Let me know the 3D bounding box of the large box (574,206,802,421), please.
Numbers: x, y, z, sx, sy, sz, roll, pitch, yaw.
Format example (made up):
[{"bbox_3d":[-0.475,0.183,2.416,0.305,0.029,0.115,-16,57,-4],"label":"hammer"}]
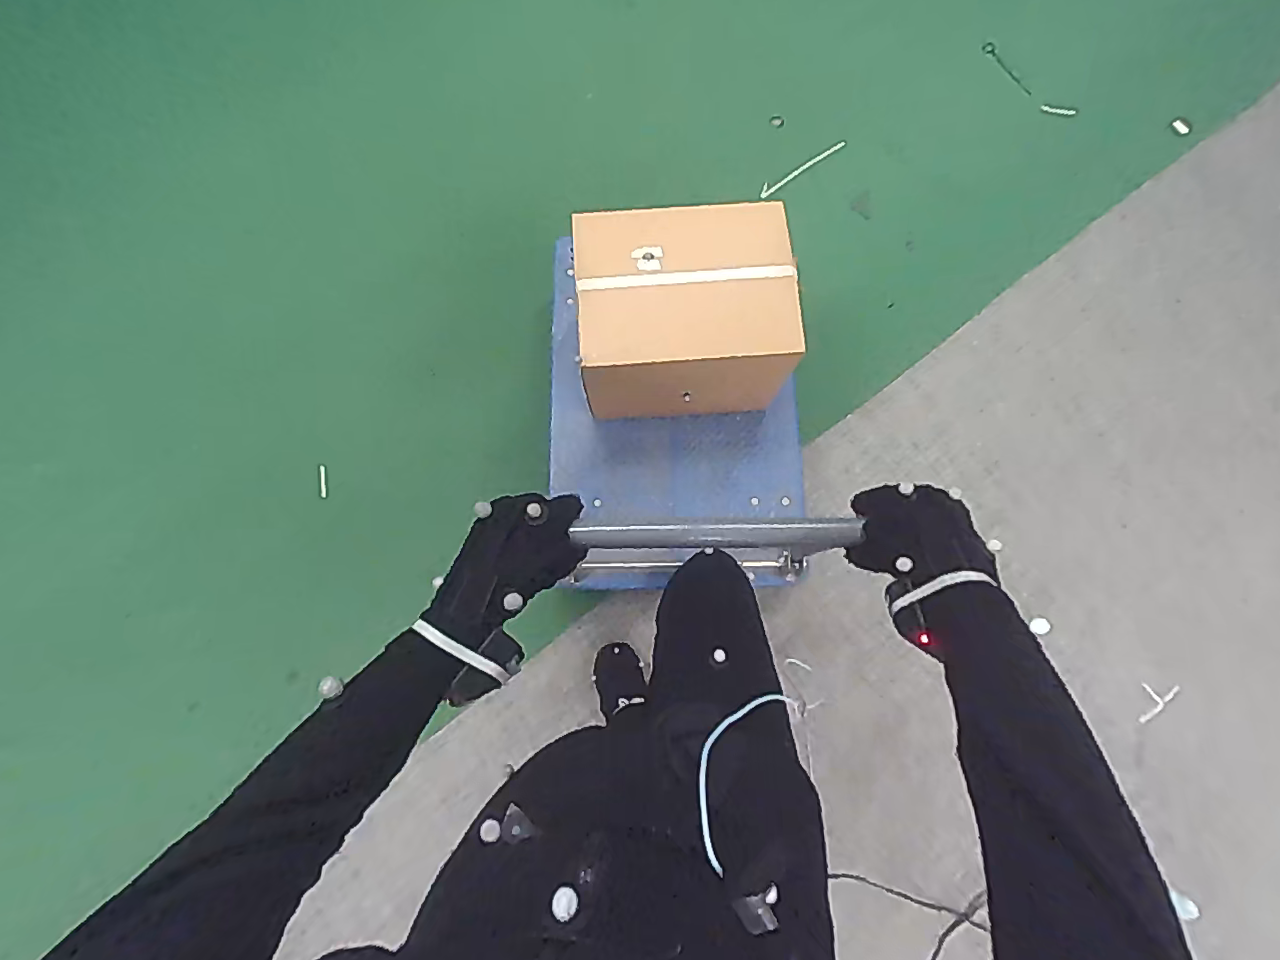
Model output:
[{"bbox_3d":[0.088,-0.330,1.153,0.408,0.320,0.320,-5,77,0],"label":"large box"}]
